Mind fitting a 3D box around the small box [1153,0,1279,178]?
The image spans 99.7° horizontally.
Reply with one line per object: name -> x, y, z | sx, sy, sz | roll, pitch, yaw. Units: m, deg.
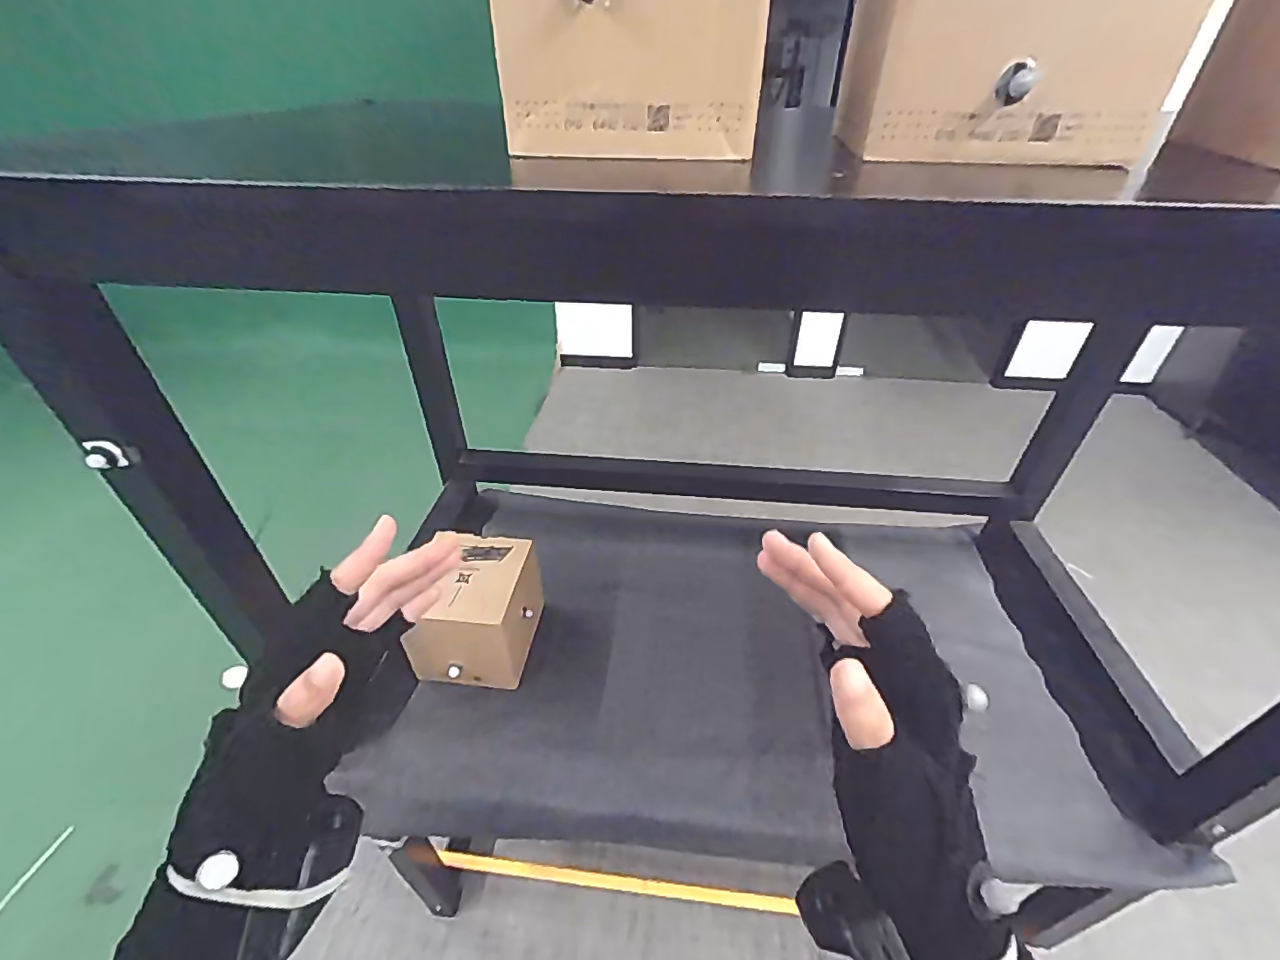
small box -> 0.481, -0.280, 0.327 | 0.168, 0.176, 0.179 | 11, 38, 14

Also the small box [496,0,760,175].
small box -> 0.001, -0.330, 0.396 | 0.168, 0.176, 0.179 | 4, 37, 5

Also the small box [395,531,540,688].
small box -> -0.267, 0.209, 0.886 | 0.168, 0.176, 0.179 | 4, 38, 5
